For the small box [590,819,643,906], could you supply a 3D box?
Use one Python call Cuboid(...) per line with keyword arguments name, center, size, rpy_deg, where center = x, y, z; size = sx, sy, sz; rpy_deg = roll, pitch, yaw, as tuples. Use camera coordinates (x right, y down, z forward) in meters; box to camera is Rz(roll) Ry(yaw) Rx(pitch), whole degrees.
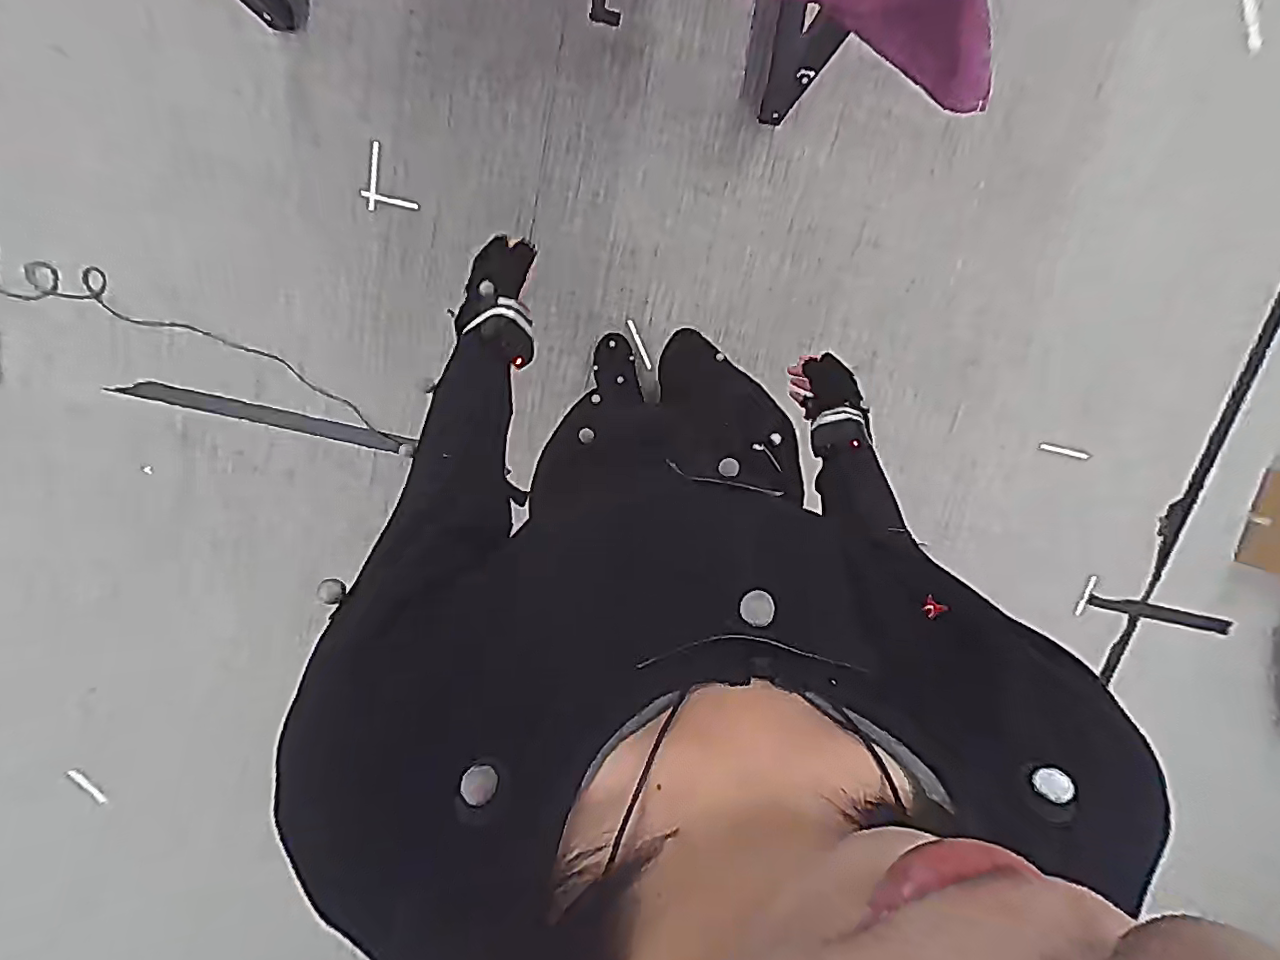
Cuboid(name="small box", center=(-0.079, 1.243, 1.769), size=(0.168, 0.176, 0.179), rpy_deg=(1, 105, -4))
